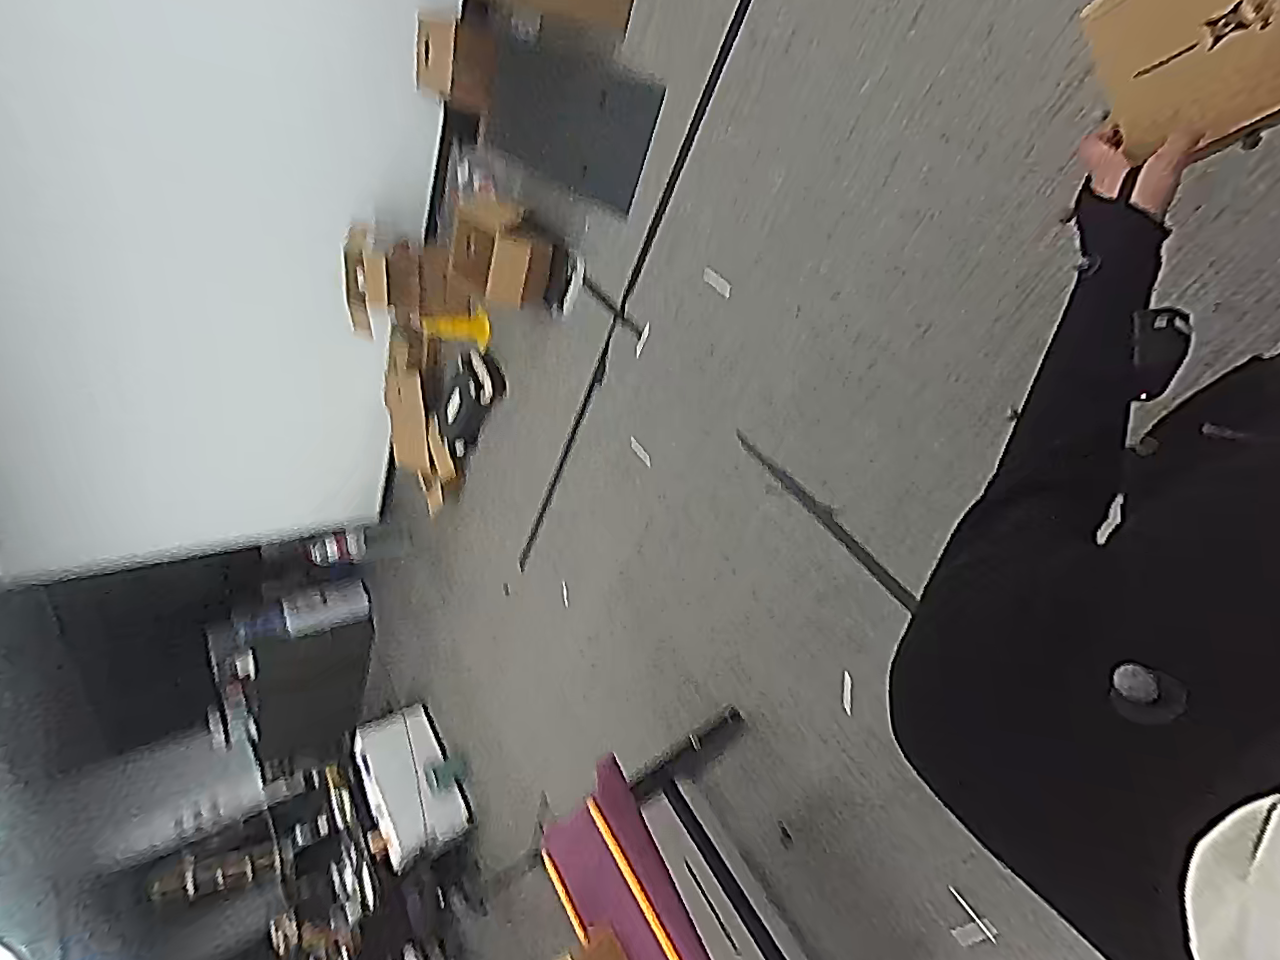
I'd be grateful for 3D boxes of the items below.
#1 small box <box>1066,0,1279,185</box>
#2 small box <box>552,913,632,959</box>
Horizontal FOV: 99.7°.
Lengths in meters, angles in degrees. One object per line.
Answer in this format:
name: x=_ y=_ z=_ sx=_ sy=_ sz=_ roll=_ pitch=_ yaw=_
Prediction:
small box: x=0.535 y=-0.403 z=0.502 sx=0.179 sy=0.176 sz=0.168 roll=-19 pitch=95 yaw=48
small box: x=-0.156 y=1.575 z=1.781 sx=0.179 sy=0.176 sz=0.168 roll=51 pitch=130 yaw=27
